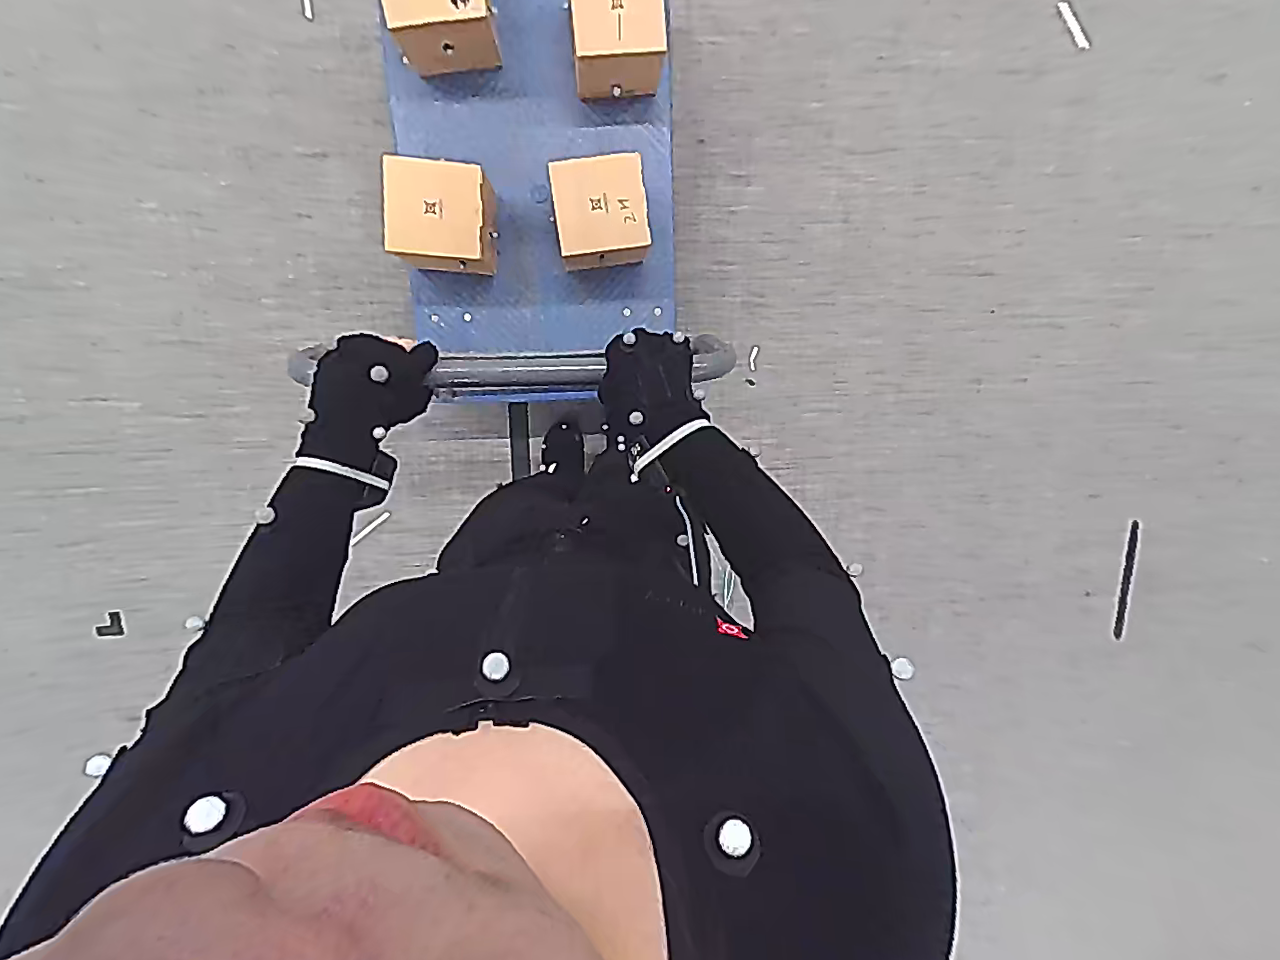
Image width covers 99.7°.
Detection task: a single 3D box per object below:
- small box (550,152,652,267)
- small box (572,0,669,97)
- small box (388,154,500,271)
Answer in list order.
[{"bbox_3d":[-0.077,-0.538,1.096,0.179,0.176,0.168,-8,103,-3],"label":"small box"},{"bbox_3d":[-0.041,-0.867,1.027,0.168,0.176,0.179,-6,104,-3],"label":"small box"},{"bbox_3d":[-0.382,-0.520,1.075,0.179,0.176,0.168,2,101,-7],"label":"small box"}]
